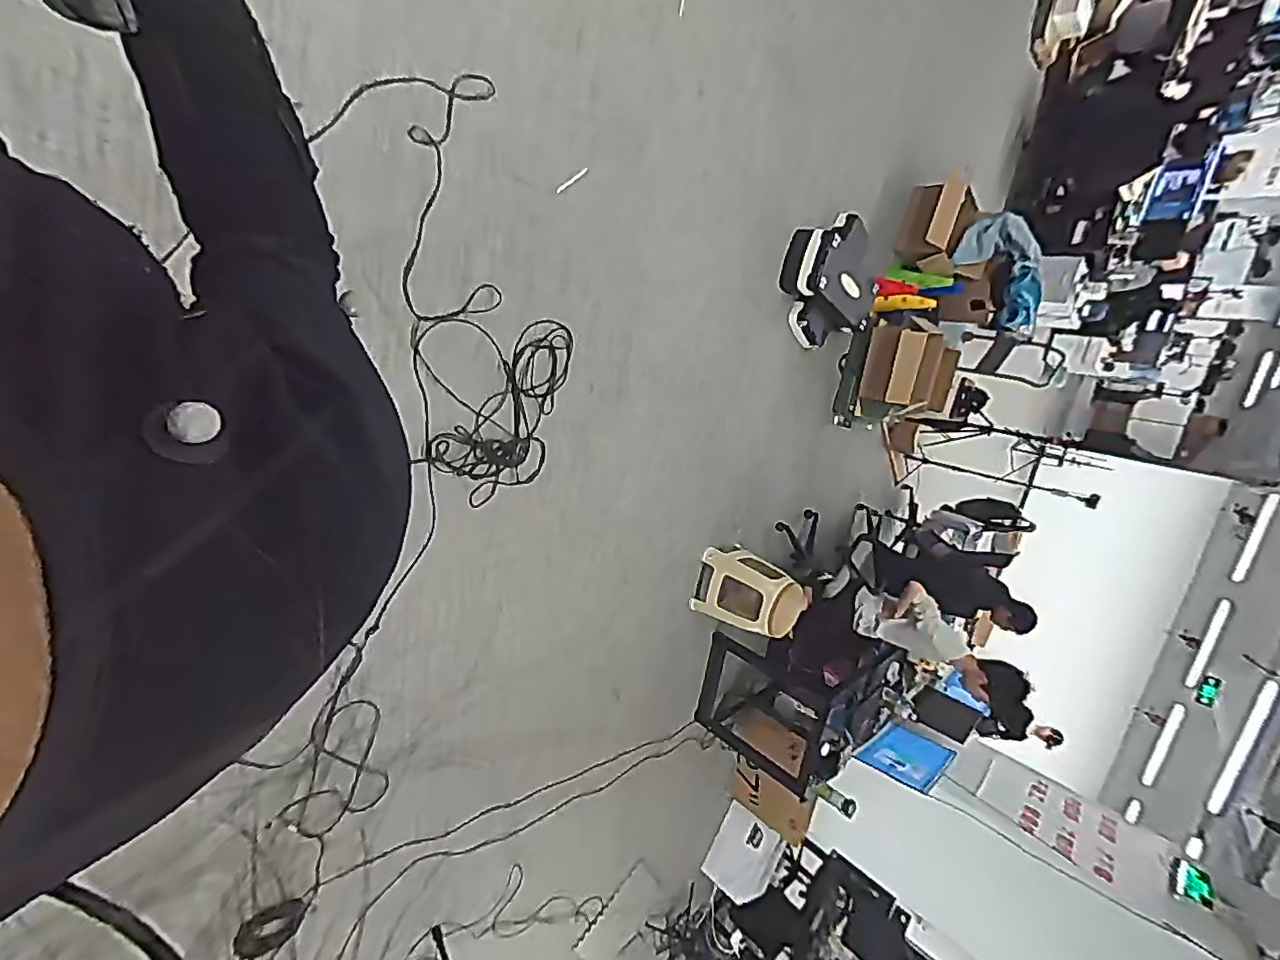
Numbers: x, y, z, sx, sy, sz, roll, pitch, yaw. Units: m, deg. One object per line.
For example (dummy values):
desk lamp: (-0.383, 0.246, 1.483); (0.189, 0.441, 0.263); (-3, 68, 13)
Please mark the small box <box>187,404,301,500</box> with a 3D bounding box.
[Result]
small box: (-0.880, -0.064, 1.196); (0.168, 0.176, 0.179); (4, 104, -48)
